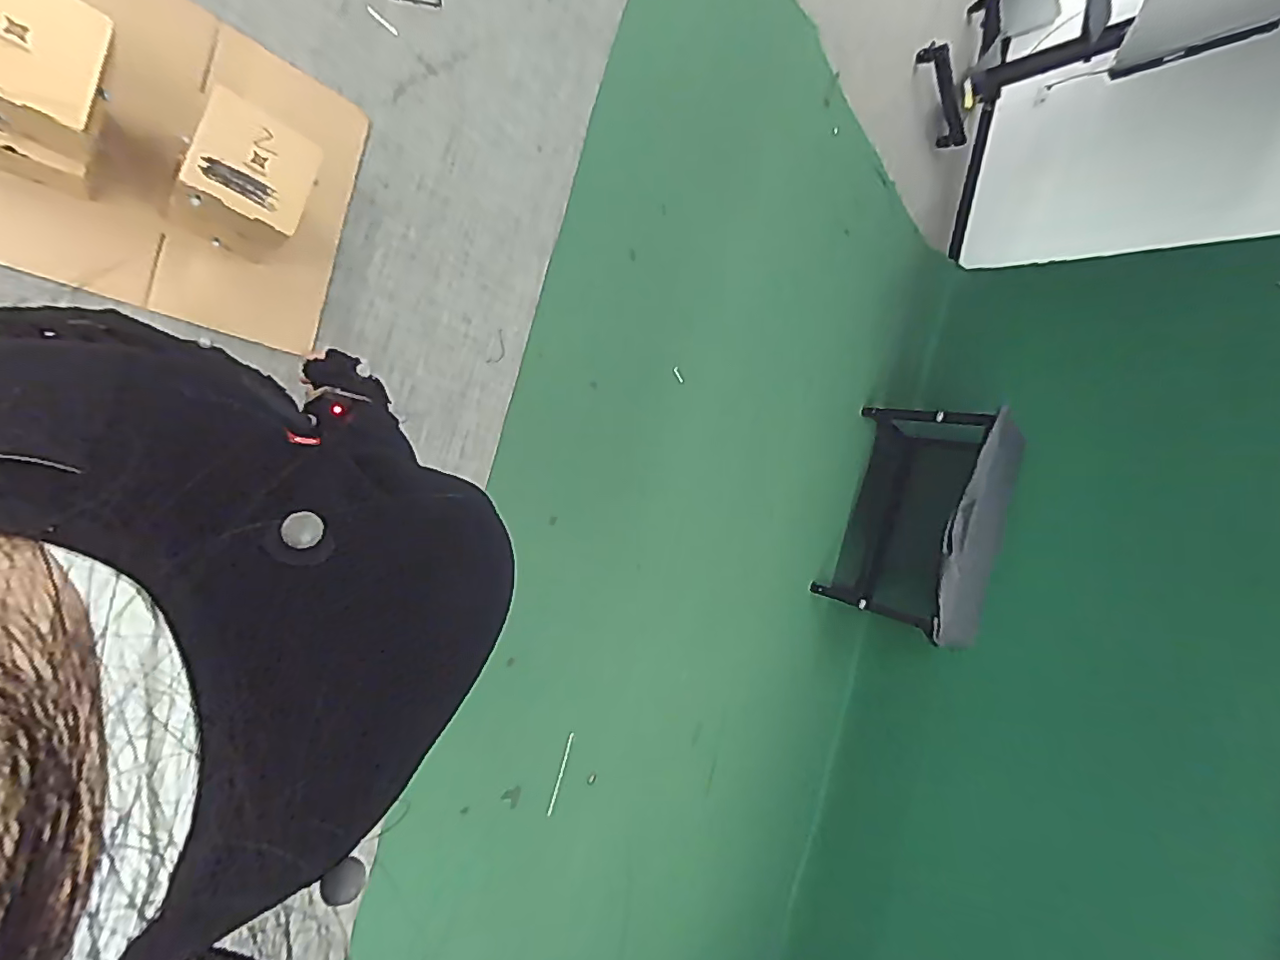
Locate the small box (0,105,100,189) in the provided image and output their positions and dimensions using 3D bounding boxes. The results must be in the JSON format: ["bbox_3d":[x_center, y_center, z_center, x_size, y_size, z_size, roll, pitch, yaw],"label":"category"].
[{"bbox_3d":[-1.018,-0.614,0.889,0.168,0.176,0.179,12,90,-45],"label":"small box"}]

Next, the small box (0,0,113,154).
[{"bbox_3d":[-0.896,-0.616,0.777,0.168,0.176,0.179,16,87,-45],"label":"small box"}]

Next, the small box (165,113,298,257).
[{"bbox_3d":[-0.825,-0.579,1.087,0.168,0.176,0.179,21,84,-43],"label":"small box"}]
